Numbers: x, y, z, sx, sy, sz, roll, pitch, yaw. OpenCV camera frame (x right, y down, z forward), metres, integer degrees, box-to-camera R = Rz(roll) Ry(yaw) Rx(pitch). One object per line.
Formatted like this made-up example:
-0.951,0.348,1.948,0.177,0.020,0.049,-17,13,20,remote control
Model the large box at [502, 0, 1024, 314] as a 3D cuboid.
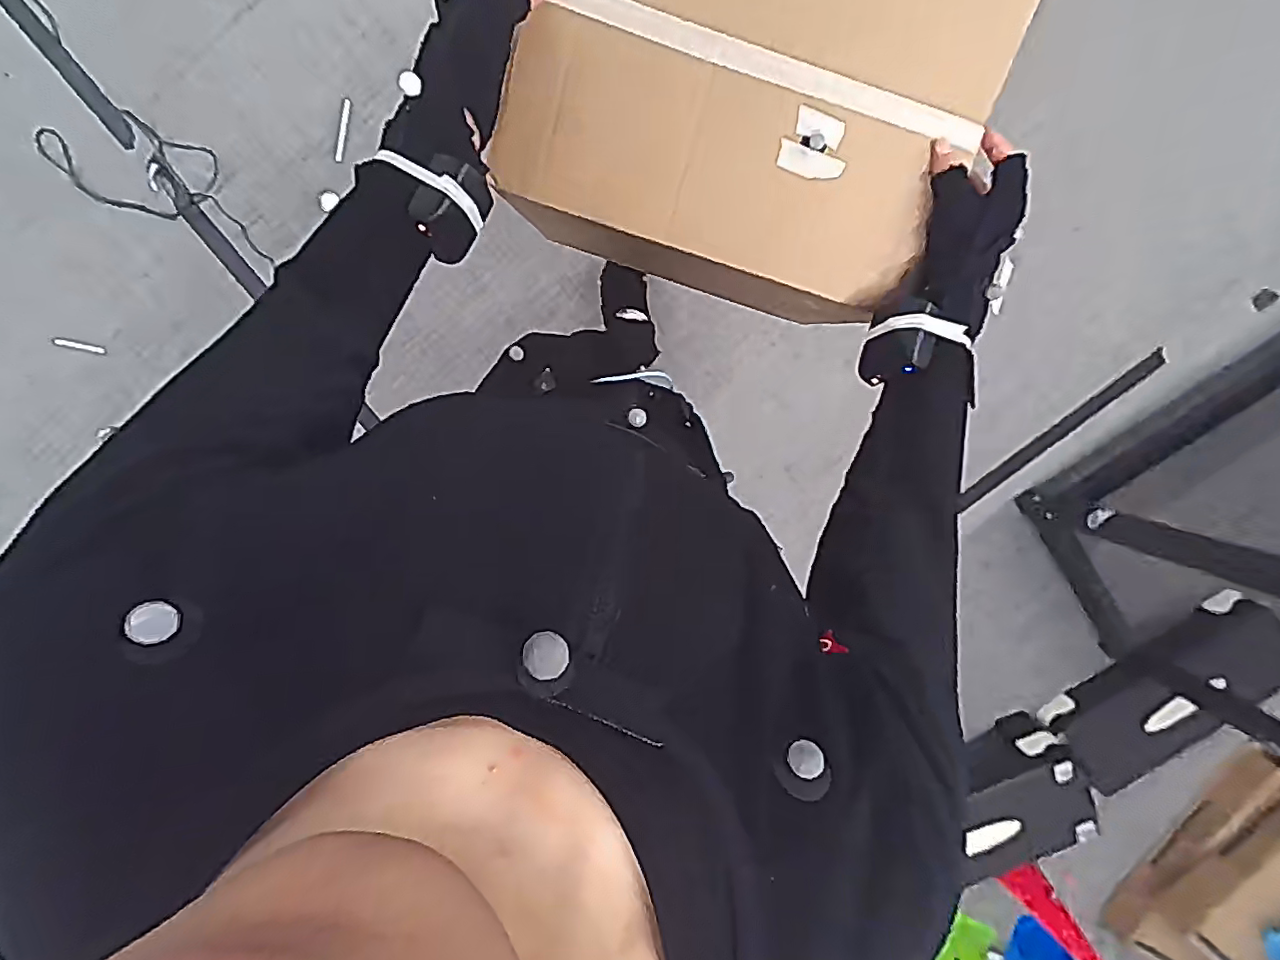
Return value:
0.101,-0.399,0.613,0.408,0.320,0.320,16,106,-5,large box
